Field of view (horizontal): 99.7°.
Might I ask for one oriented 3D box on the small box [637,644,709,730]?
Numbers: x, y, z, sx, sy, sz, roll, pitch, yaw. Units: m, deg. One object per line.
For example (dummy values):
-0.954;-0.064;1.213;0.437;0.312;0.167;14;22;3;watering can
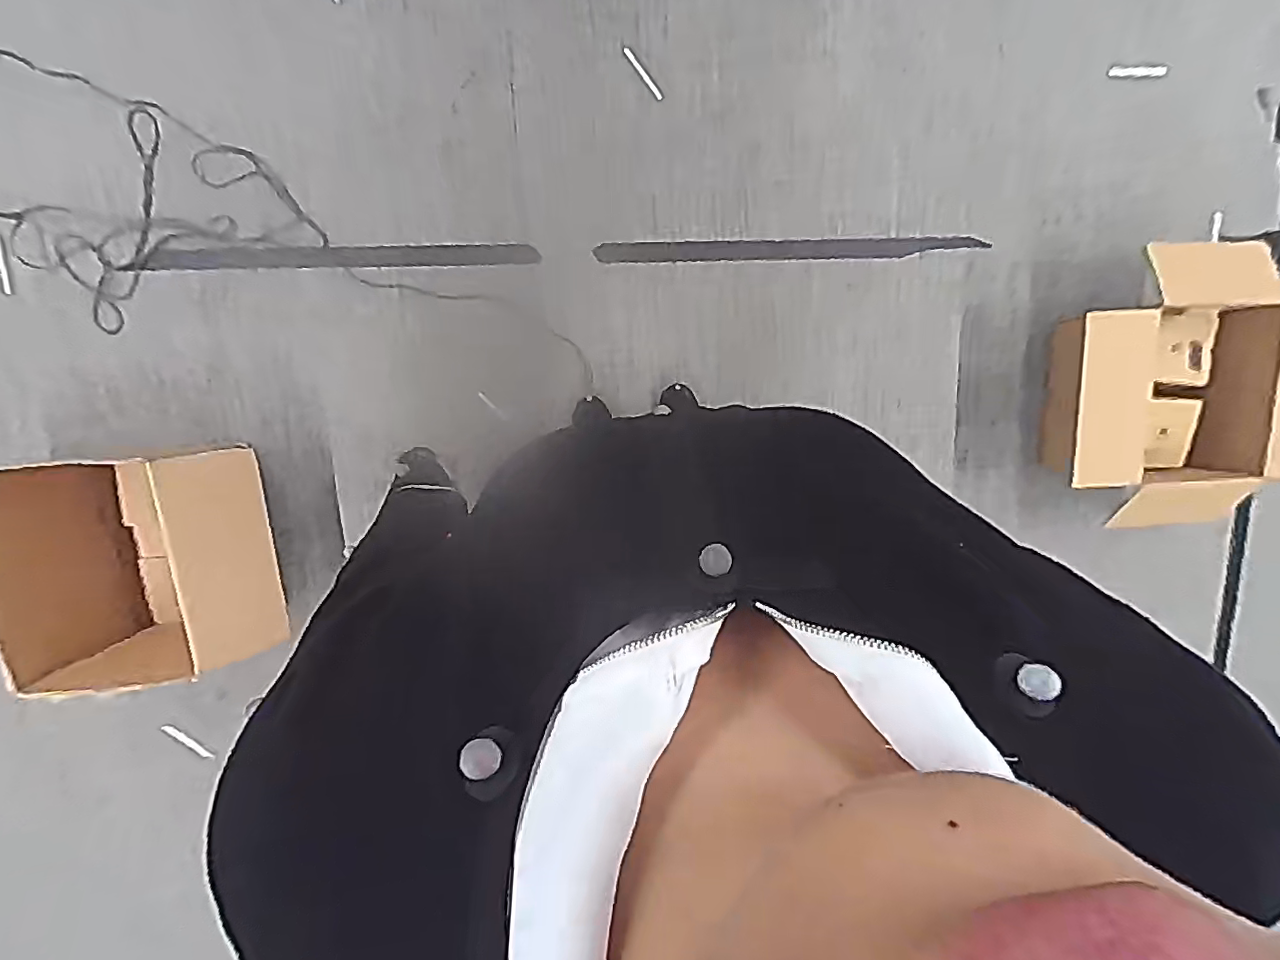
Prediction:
0.086;0.559;1.477;0.179;0.176;0.168;2;97;-2;small box
